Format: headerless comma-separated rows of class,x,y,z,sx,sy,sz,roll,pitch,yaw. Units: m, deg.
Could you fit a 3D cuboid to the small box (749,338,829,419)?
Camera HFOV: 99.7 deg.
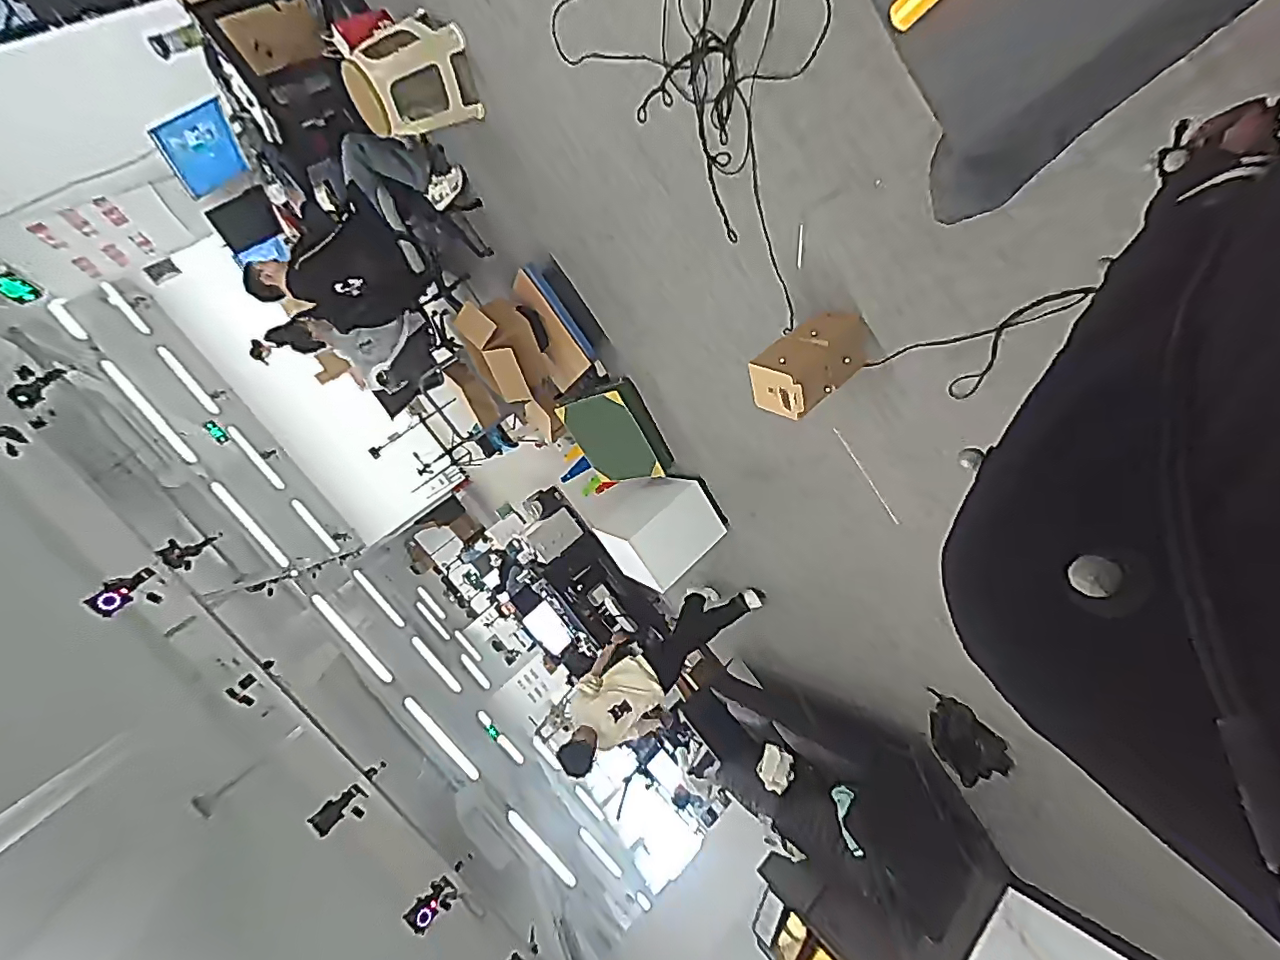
small box,0.470,-0.323,1.681,0.179,0.176,0.168,32,152,44

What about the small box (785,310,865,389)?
small box,0.596,-0.419,1.727,0.168,0.176,0.179,27,149,48
